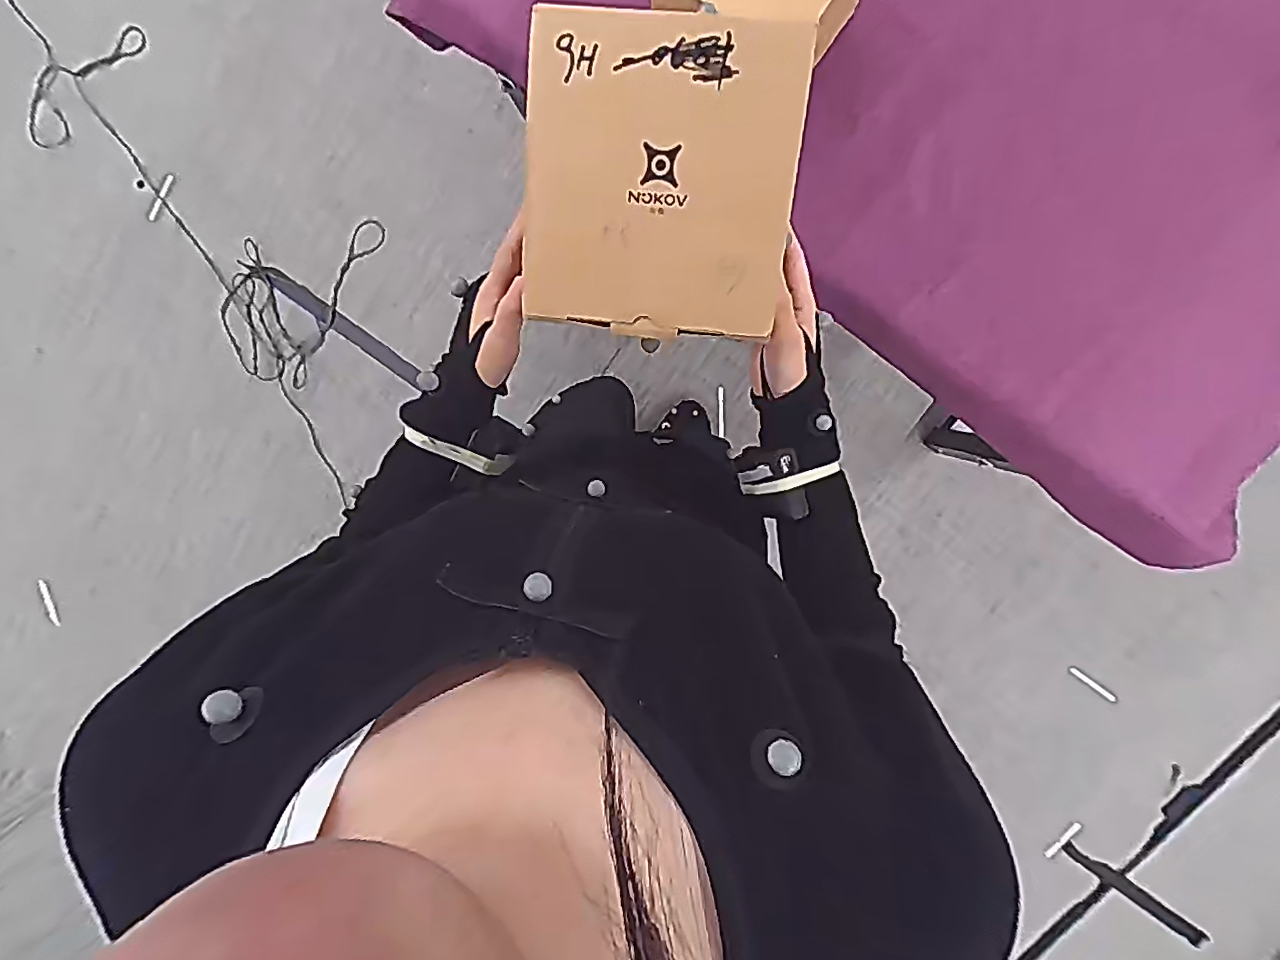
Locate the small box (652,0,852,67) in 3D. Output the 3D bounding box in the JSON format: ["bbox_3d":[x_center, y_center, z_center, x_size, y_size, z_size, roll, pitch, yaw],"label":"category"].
[{"bbox_3d":[0.126,-0.519,0.581,0.168,0.176,0.179,36,99,-3],"label":"small box"}]

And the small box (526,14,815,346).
[{"bbox_3d":[0.019,-0.203,0.413,0.168,0.176,0.179,7,106,3],"label":"small box"}]
